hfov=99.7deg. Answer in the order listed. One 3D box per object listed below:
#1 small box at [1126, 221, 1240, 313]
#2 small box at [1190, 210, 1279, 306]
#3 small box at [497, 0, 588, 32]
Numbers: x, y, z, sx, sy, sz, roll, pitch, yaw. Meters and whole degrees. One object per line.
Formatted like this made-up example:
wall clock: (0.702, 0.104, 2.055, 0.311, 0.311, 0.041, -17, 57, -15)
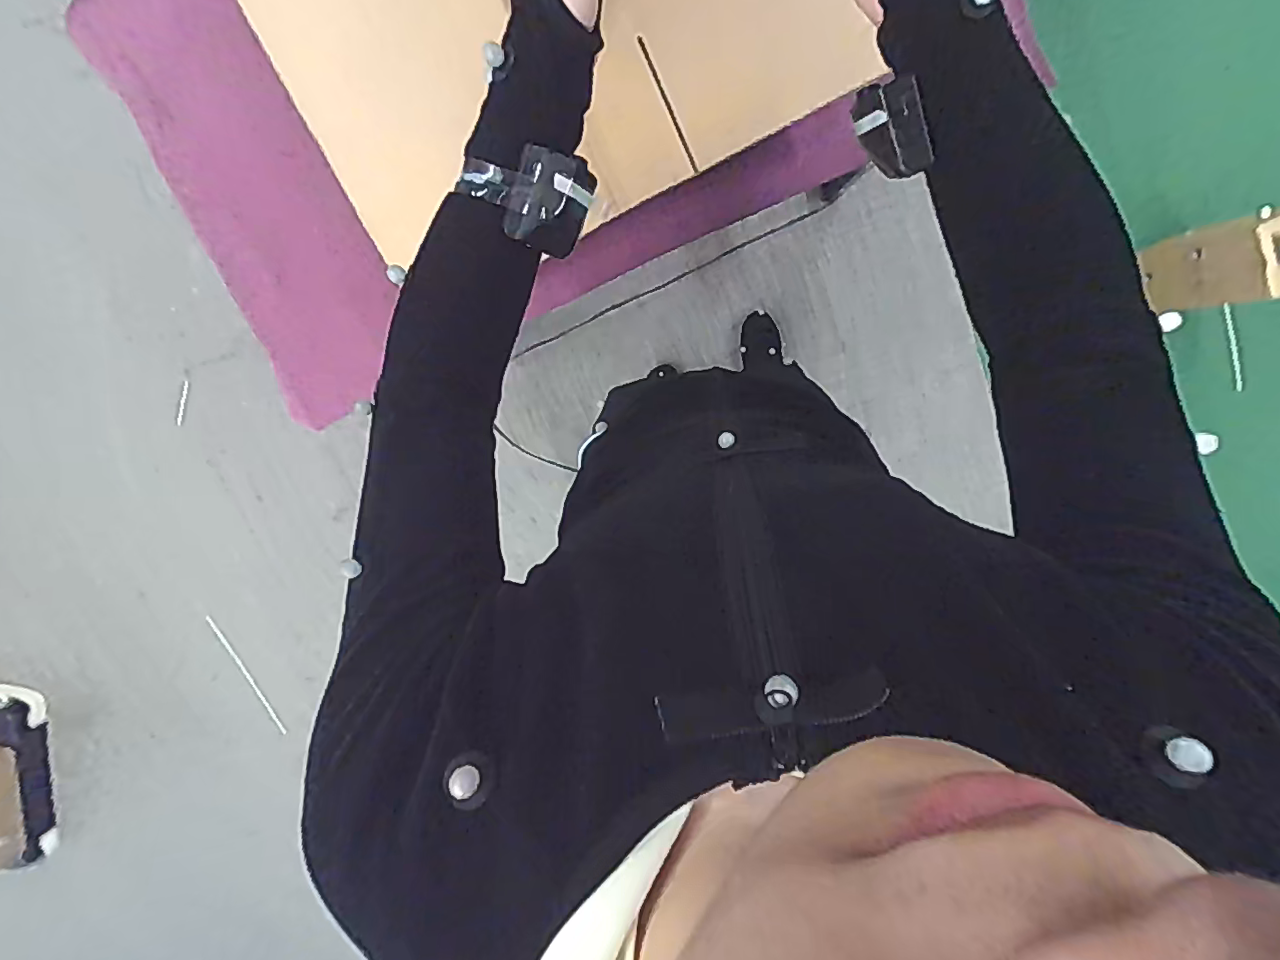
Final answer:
small box: (1.433, -0.548, 1.405, 0.179, 0.176, 0.168, -22, 100, 6)
small box: (1.429, -0.515, 1.244, 0.179, 0.176, 0.168, -22, 101, 5)
small box: (-0.103, -0.586, 0.502, 0.168, 0.176, 0.179, -25, 101, 4)
